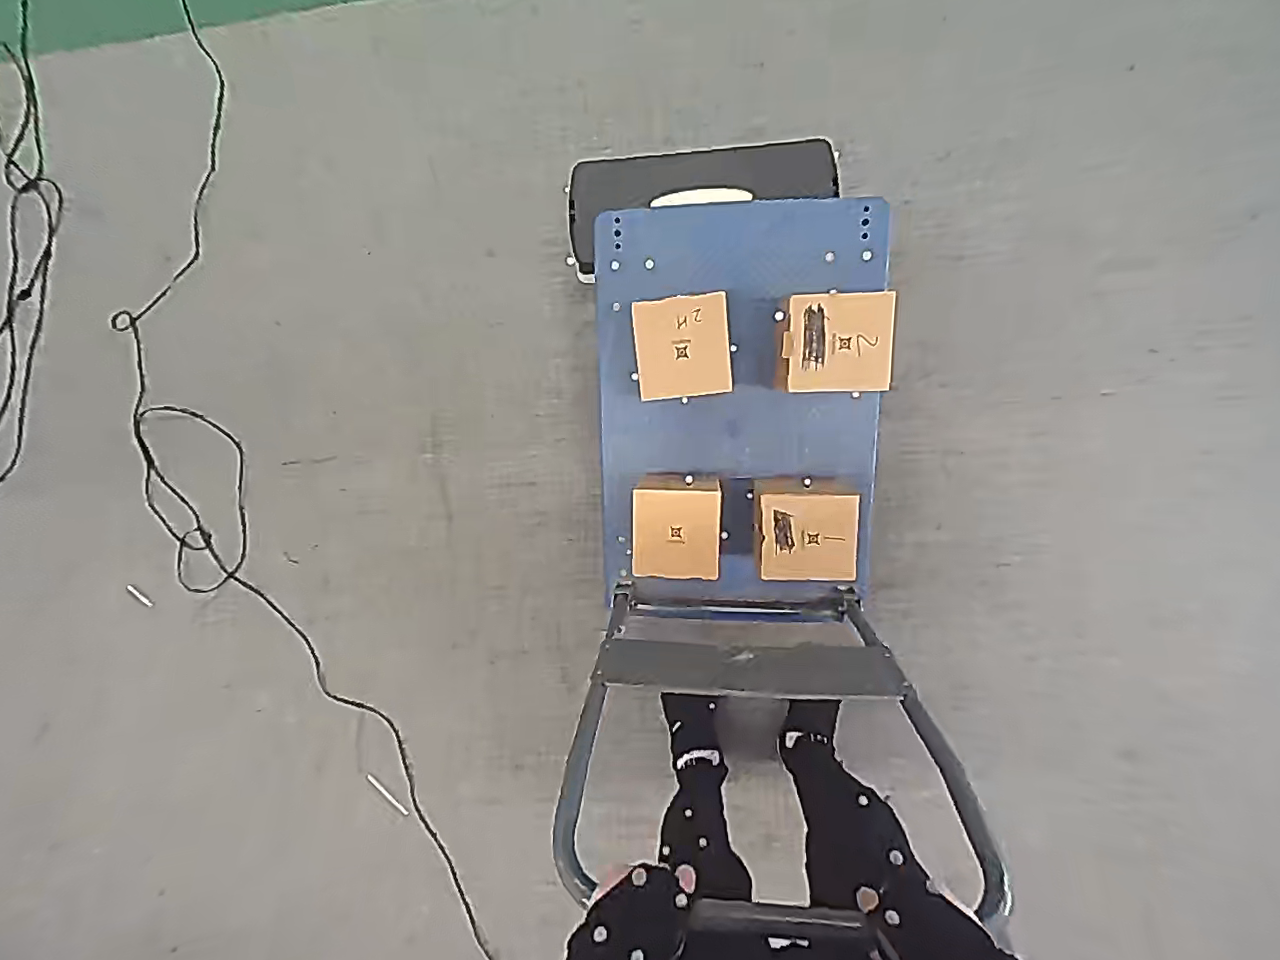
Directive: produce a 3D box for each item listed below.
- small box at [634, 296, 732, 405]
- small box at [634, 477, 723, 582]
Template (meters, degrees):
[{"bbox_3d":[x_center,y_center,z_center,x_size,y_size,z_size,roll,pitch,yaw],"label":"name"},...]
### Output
[{"bbox_3d":[0.085,-0.243,1.030,0.168,0.176,0.179,-5,101,6],"label":"small box"},{"bbox_3d":[0.077,0.092,1.096,0.168,0.176,0.179,2,102,5],"label":"small box"}]
